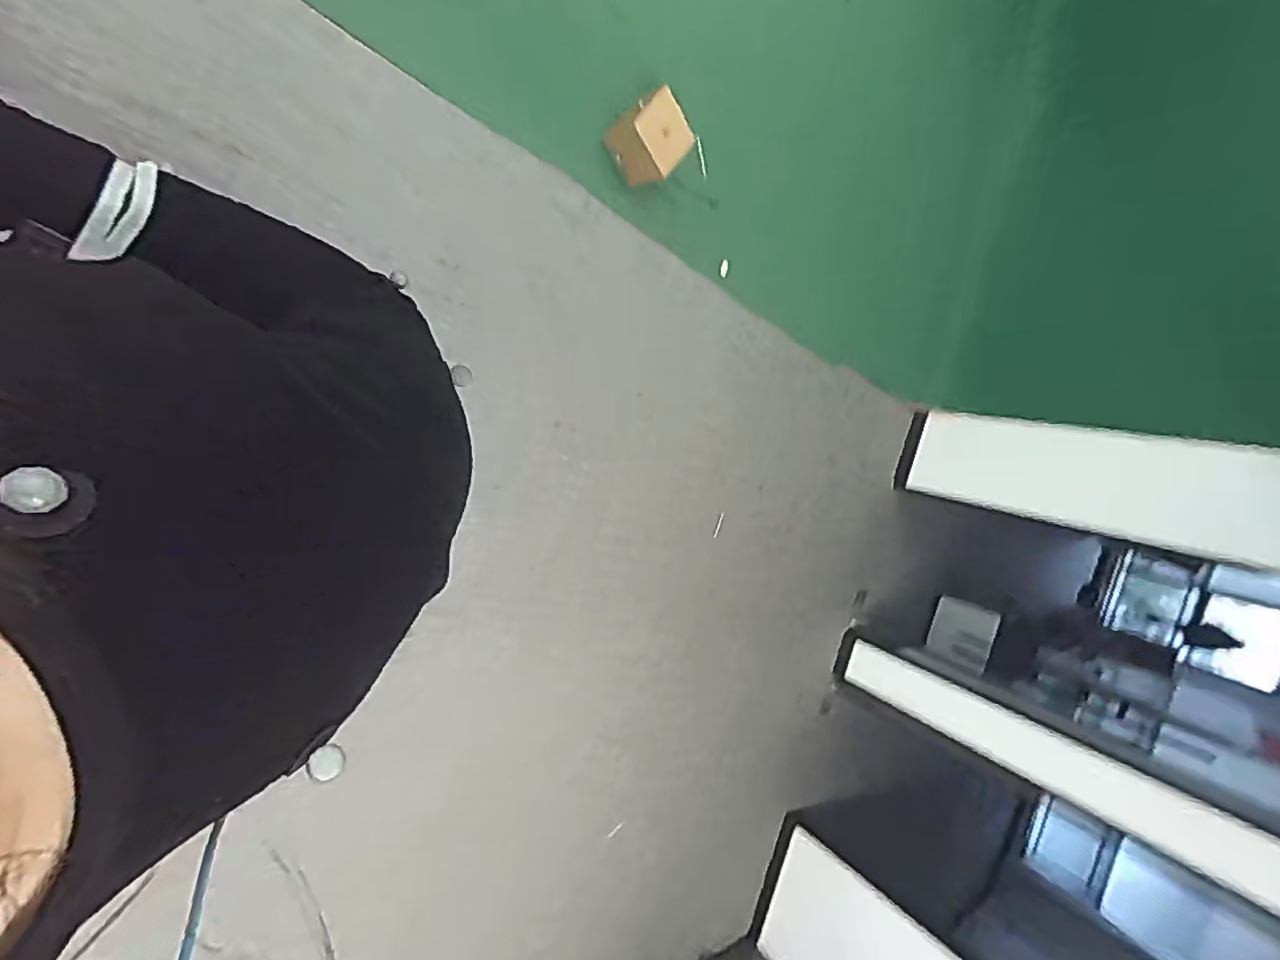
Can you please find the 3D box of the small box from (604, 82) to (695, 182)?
[{"bbox_3d":[0.025,-1.032,1.617,0.179,0.176,0.168,-55,129,-13],"label":"small box"}]
